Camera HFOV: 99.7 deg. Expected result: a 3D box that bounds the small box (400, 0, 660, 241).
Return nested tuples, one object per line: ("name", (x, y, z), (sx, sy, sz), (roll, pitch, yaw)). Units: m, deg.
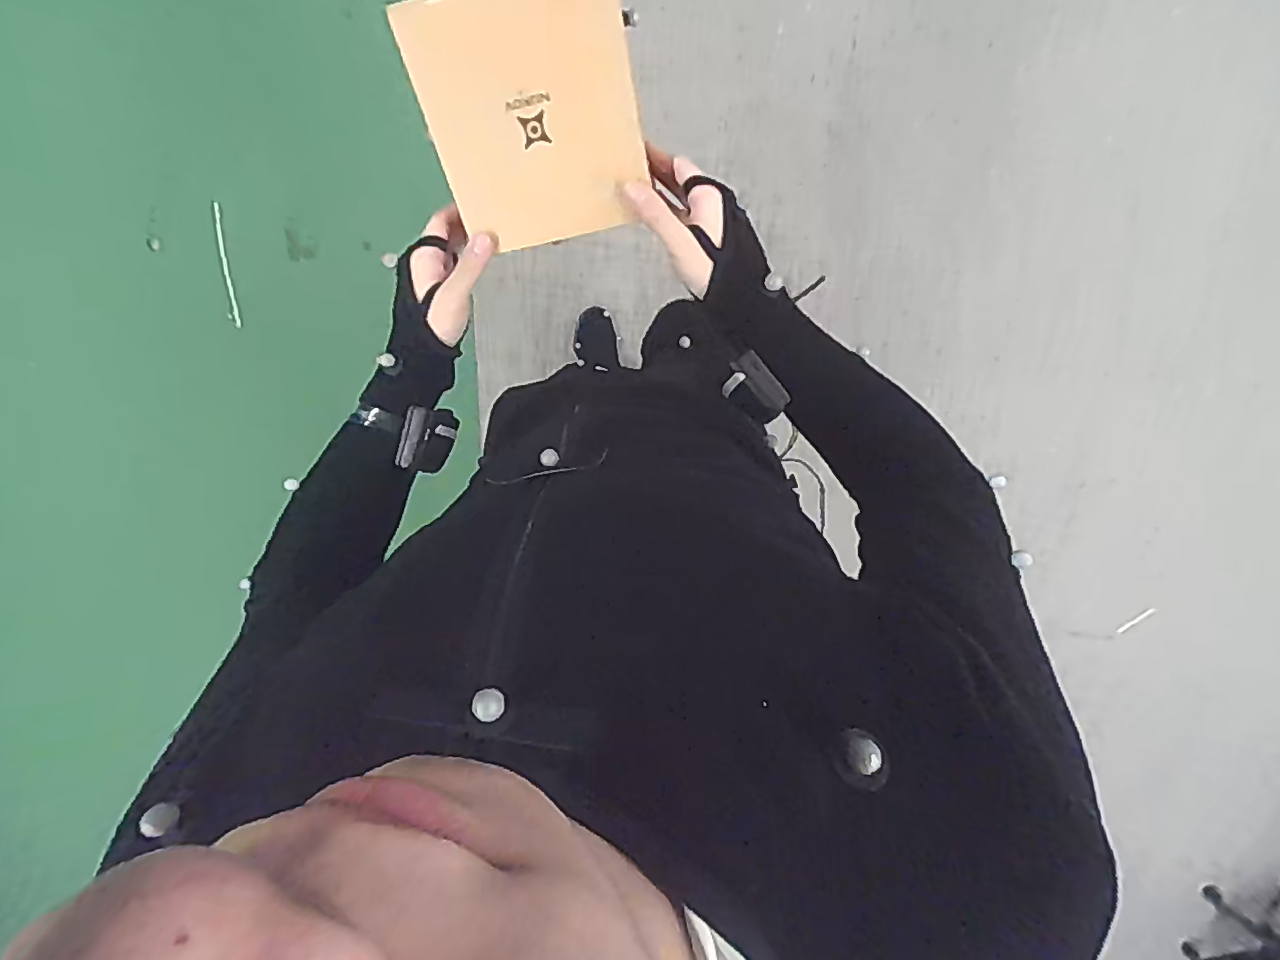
("small box", (-0.075, -0.339, 0.488), (0.168, 0.176, 0.179), (-8, 124, 8))
